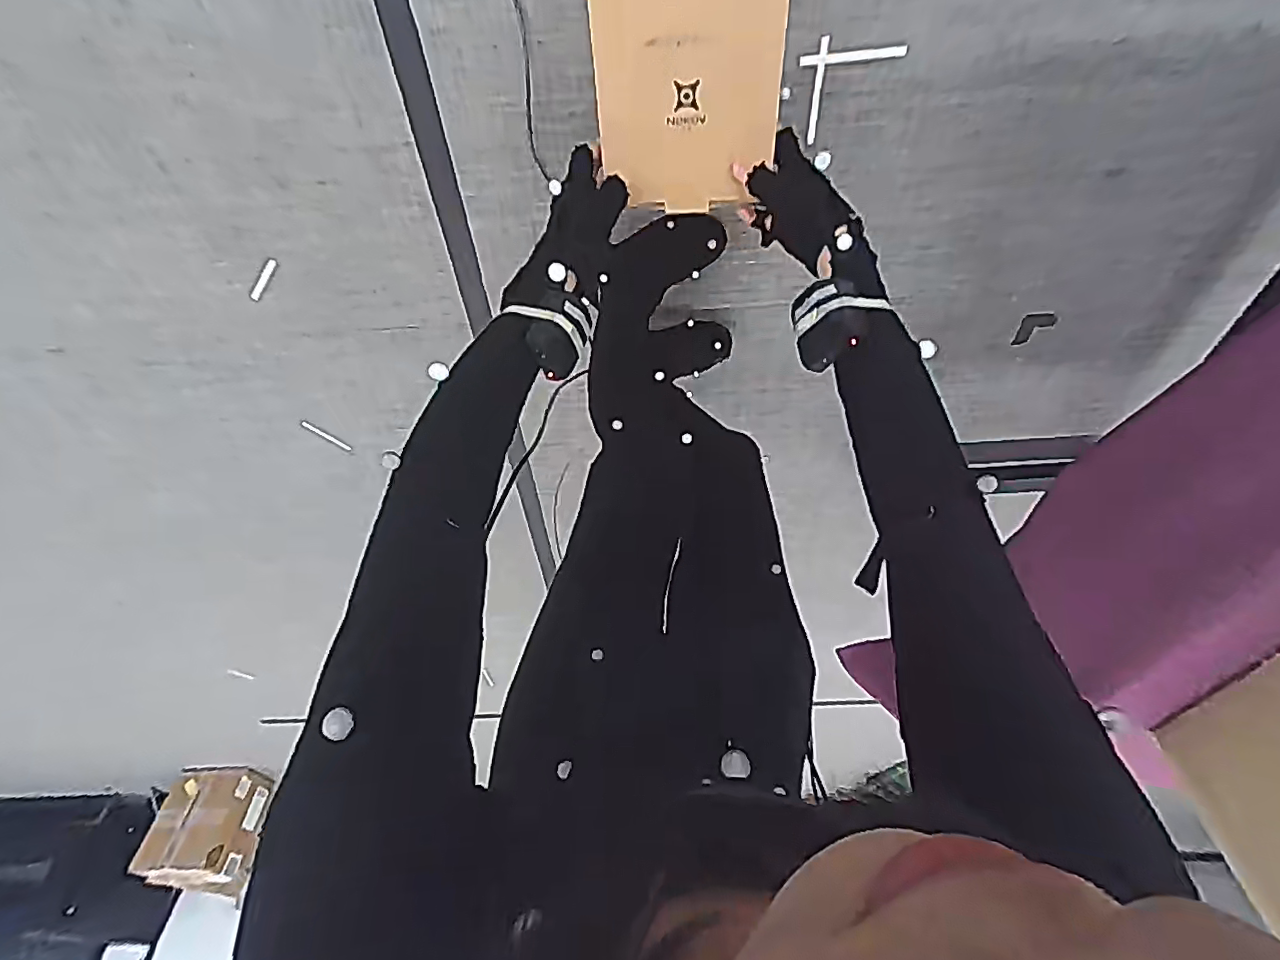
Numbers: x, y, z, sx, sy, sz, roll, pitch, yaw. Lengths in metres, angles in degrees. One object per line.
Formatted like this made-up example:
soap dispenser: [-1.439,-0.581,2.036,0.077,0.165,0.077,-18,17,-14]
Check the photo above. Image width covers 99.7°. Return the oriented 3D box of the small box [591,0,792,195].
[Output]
small box: [0.050,-0.401,0.531,0.168,0.176,0.179,0,133,5]
